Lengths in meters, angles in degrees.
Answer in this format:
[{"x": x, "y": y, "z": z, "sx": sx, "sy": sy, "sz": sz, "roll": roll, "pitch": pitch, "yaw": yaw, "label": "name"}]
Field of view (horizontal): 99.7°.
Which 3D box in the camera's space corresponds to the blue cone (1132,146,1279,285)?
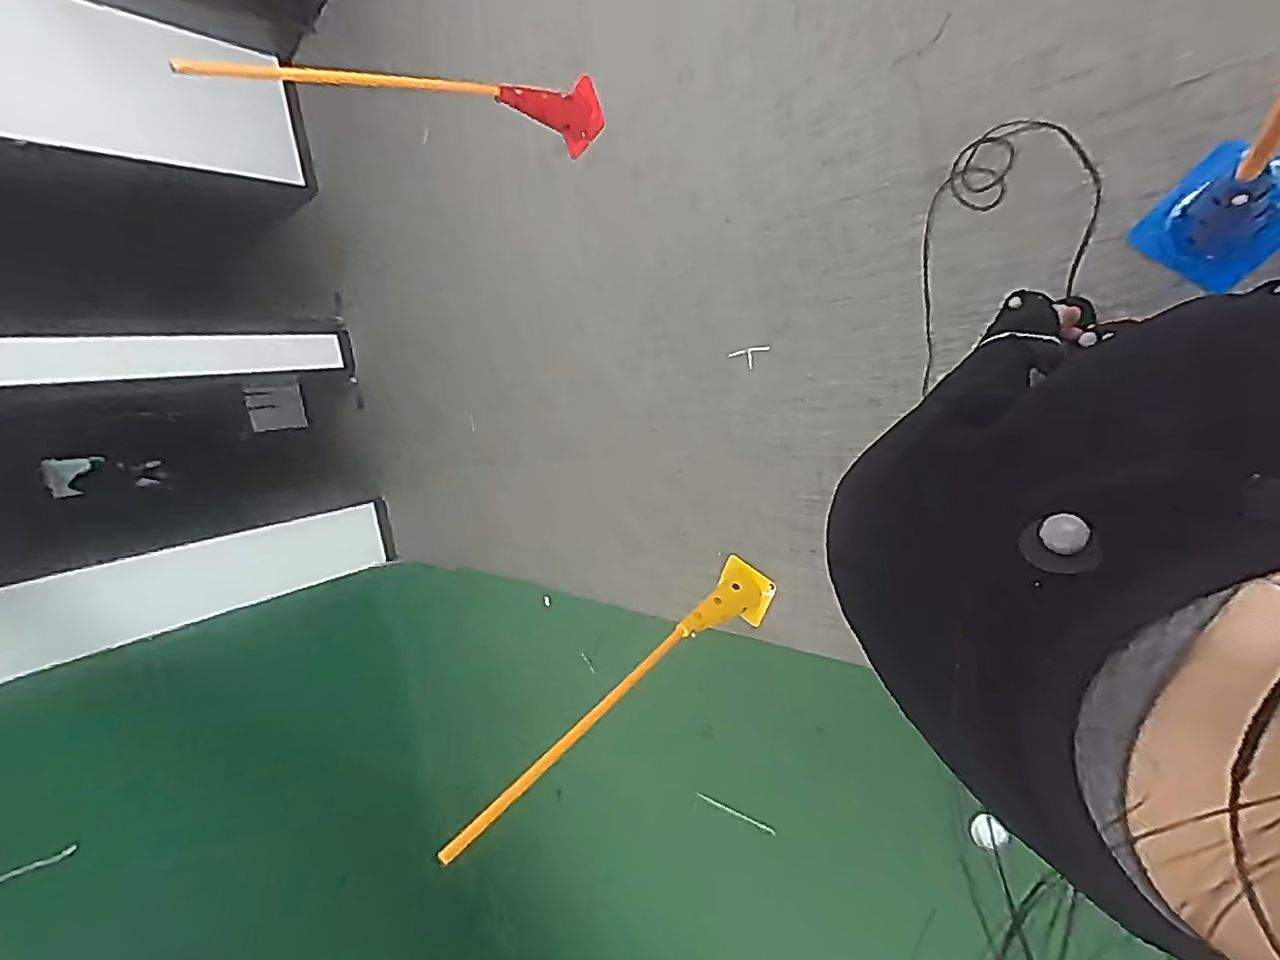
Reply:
[{"x": 0.938, "y": -0.453, "z": 0.859, "sx": 0.192, "sy": 0.380, "sz": 0.193, "roll": 49, "pitch": 127, "yaw": 23, "label": "blue cone"}]
